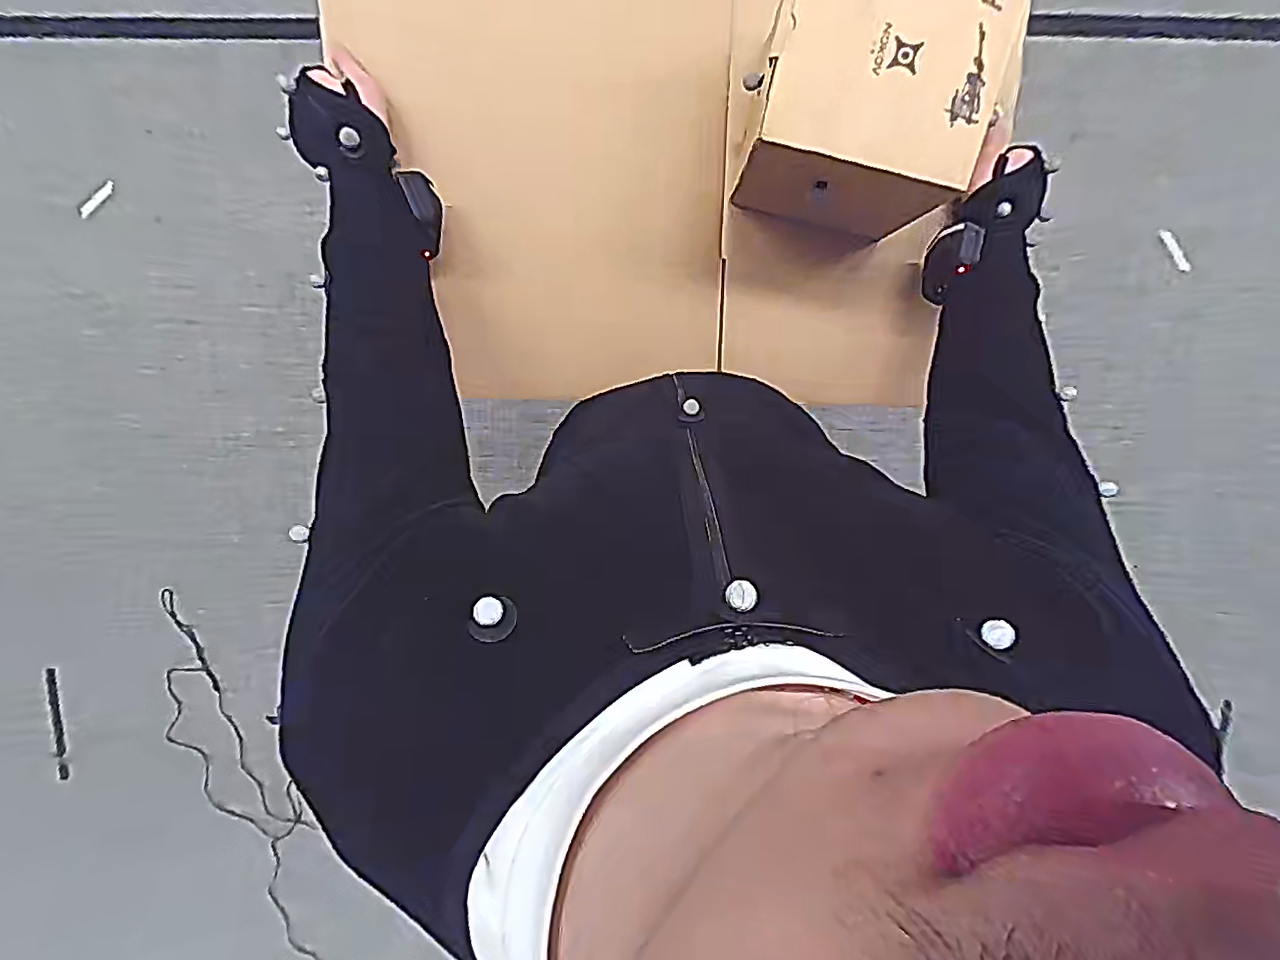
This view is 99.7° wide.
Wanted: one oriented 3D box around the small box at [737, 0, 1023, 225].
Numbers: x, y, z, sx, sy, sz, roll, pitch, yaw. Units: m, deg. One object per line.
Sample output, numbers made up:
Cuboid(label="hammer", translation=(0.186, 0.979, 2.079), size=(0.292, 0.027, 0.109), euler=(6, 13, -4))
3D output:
Cuboid(label="small box", translation=(0.198, -0.354, 0.496), size=(0.179, 0.176, 0.168), euler=(14, 102, 0))
